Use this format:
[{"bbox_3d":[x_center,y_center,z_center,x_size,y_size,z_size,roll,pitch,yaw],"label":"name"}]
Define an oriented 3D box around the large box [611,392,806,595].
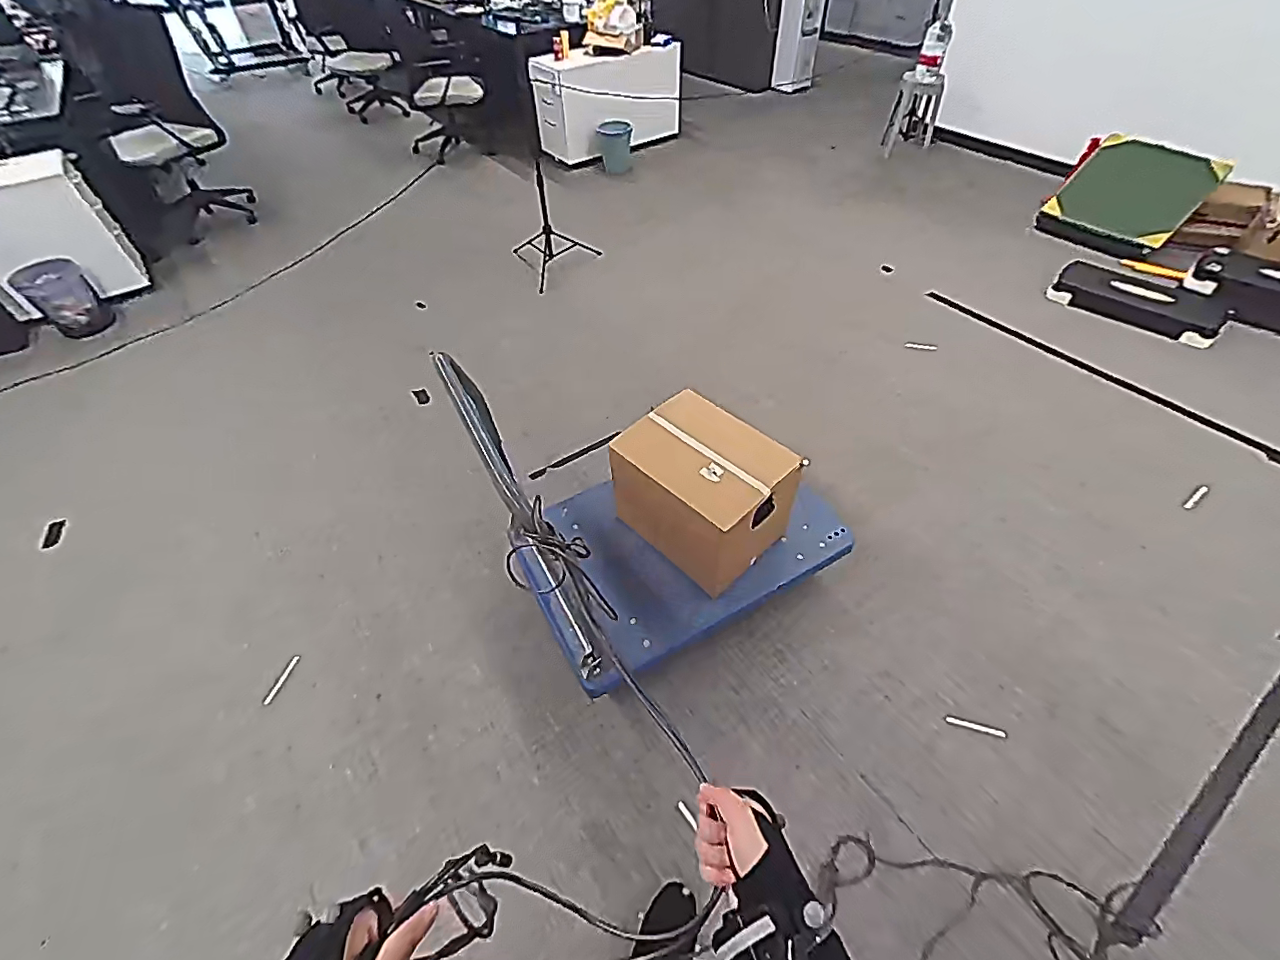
[{"bbox_3d":[0.168,0.030,1.480,0.320,0.320,0.408,-38,59,-25],"label":"large box"}]
